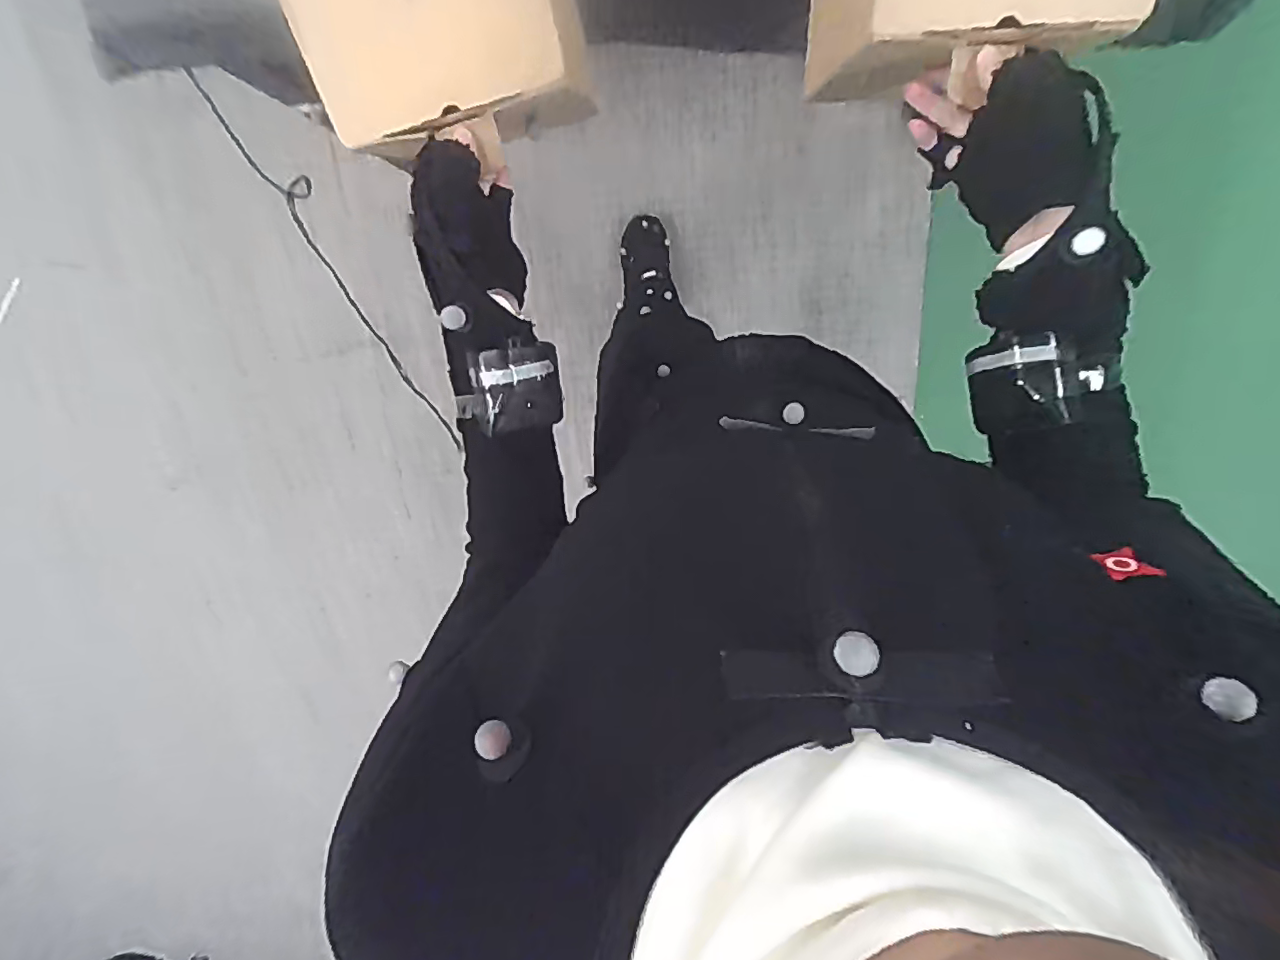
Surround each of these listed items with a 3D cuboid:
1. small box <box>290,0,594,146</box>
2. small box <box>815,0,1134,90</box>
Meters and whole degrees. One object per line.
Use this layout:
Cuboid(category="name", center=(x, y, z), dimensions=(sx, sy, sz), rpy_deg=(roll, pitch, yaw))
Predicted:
Cuboid(category="small box", center=(-0.141, -0.365, 0.400), dimensions=(0.168, 0.176, 0.179), rpy_deg=(-11, 116, 10))
Cuboid(category="small box", center=(0.224, -0.394, 0.375), dimensions=(0.168, 0.176, 0.179), rpy_deg=(0, 113, 7))
